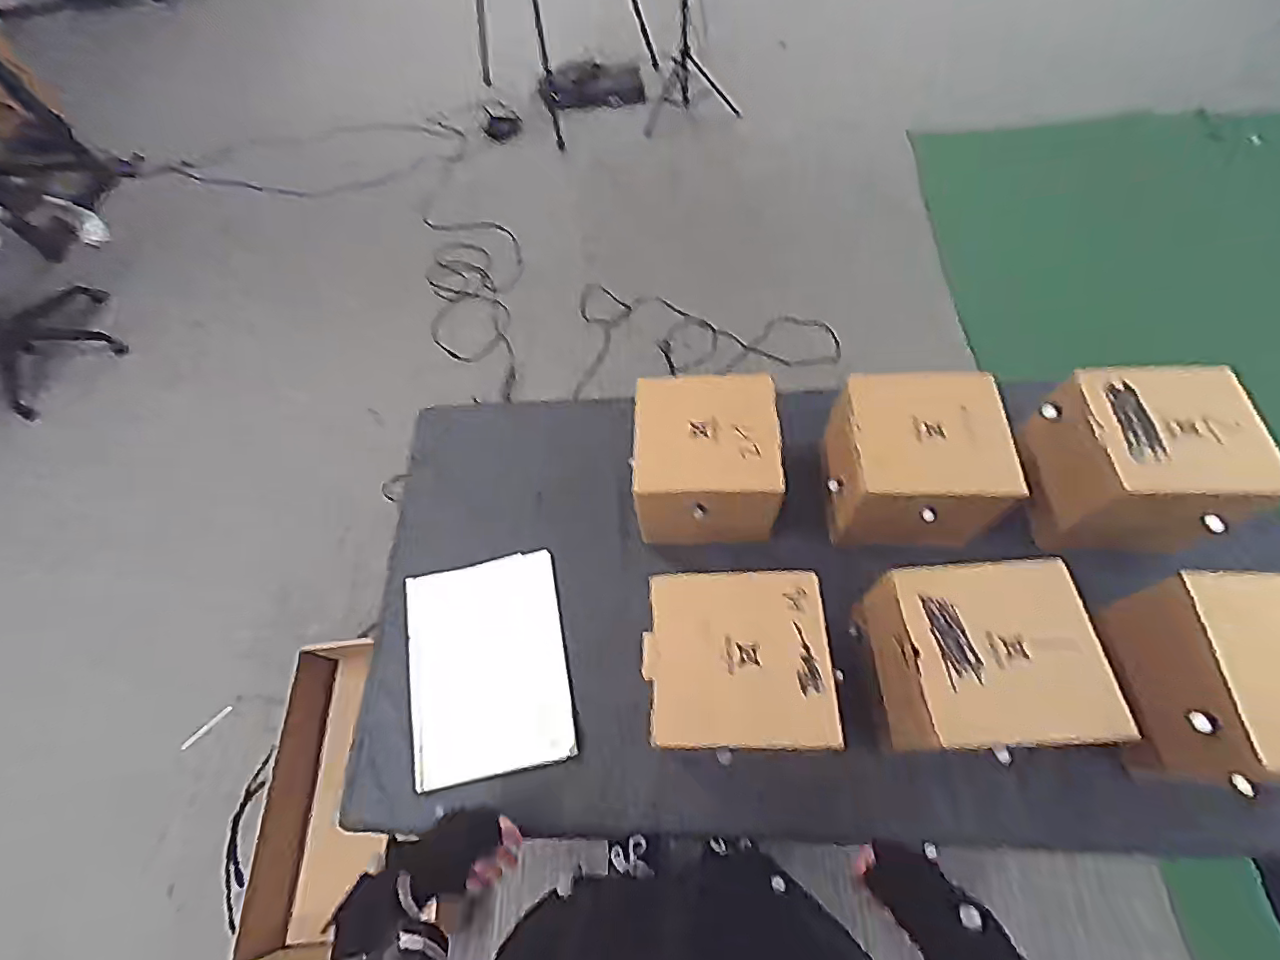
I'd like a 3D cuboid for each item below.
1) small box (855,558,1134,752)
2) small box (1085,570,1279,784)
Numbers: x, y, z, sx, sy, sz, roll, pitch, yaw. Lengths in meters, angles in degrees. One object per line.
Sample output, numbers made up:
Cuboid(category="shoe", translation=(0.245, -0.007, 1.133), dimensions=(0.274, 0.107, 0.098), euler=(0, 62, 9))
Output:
Cuboid(category="small box", translation=(0.347, 0.194, 0.581), dimensions=(0.179, 0.176, 0.168), euler=(-4, 61, 2))
Cuboid(category="small box", translation=(0.607, 0.206, 0.554), dimensions=(0.168, 0.176, 0.179), euler=(1, 61, 6))
